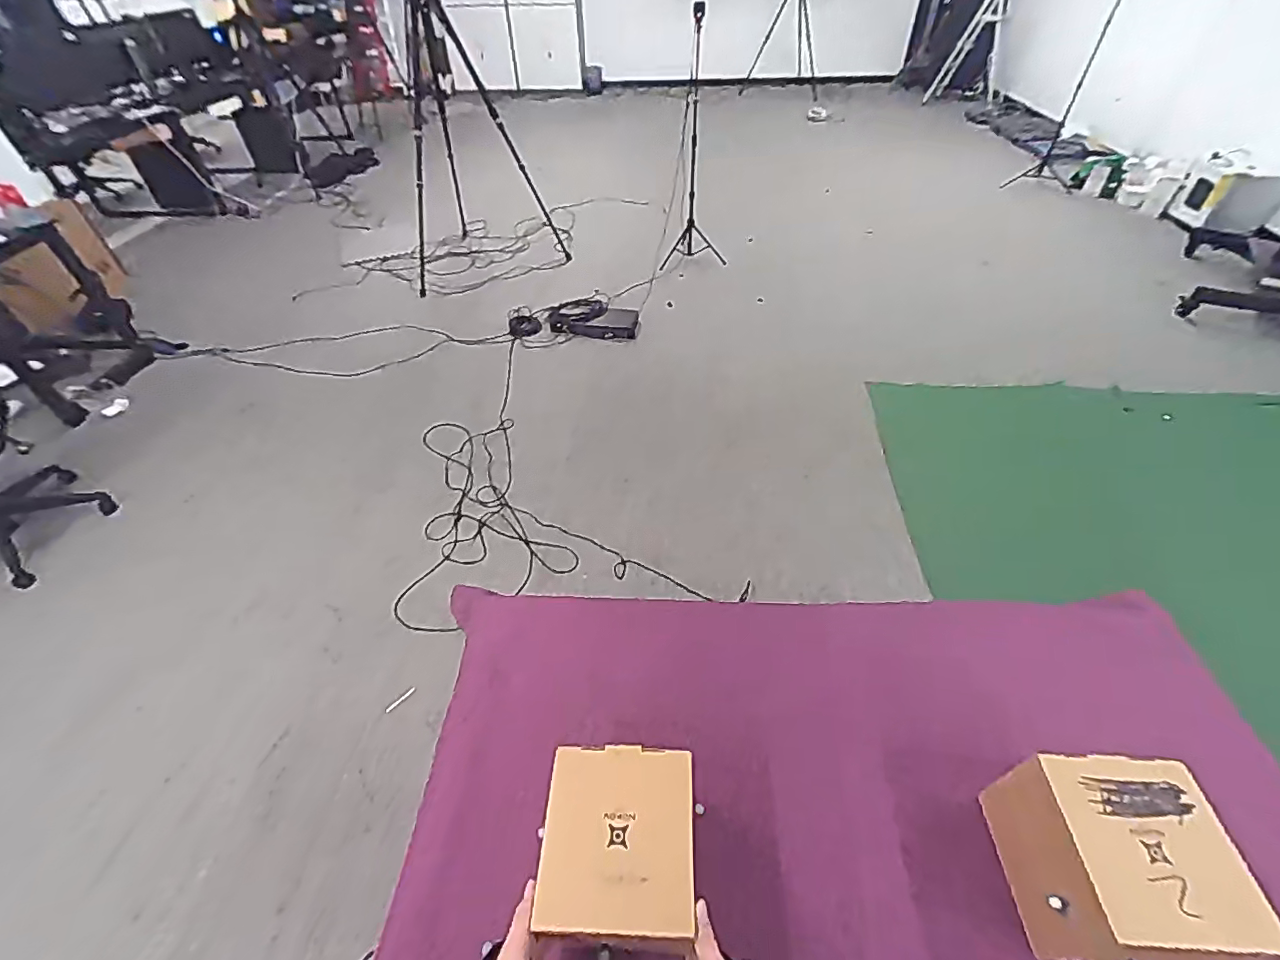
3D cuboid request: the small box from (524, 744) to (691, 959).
[{"bbox_3d":[-0.026,0.435,0.633,0.168,0.176,0.179,1,45,4],"label":"small box"}]
